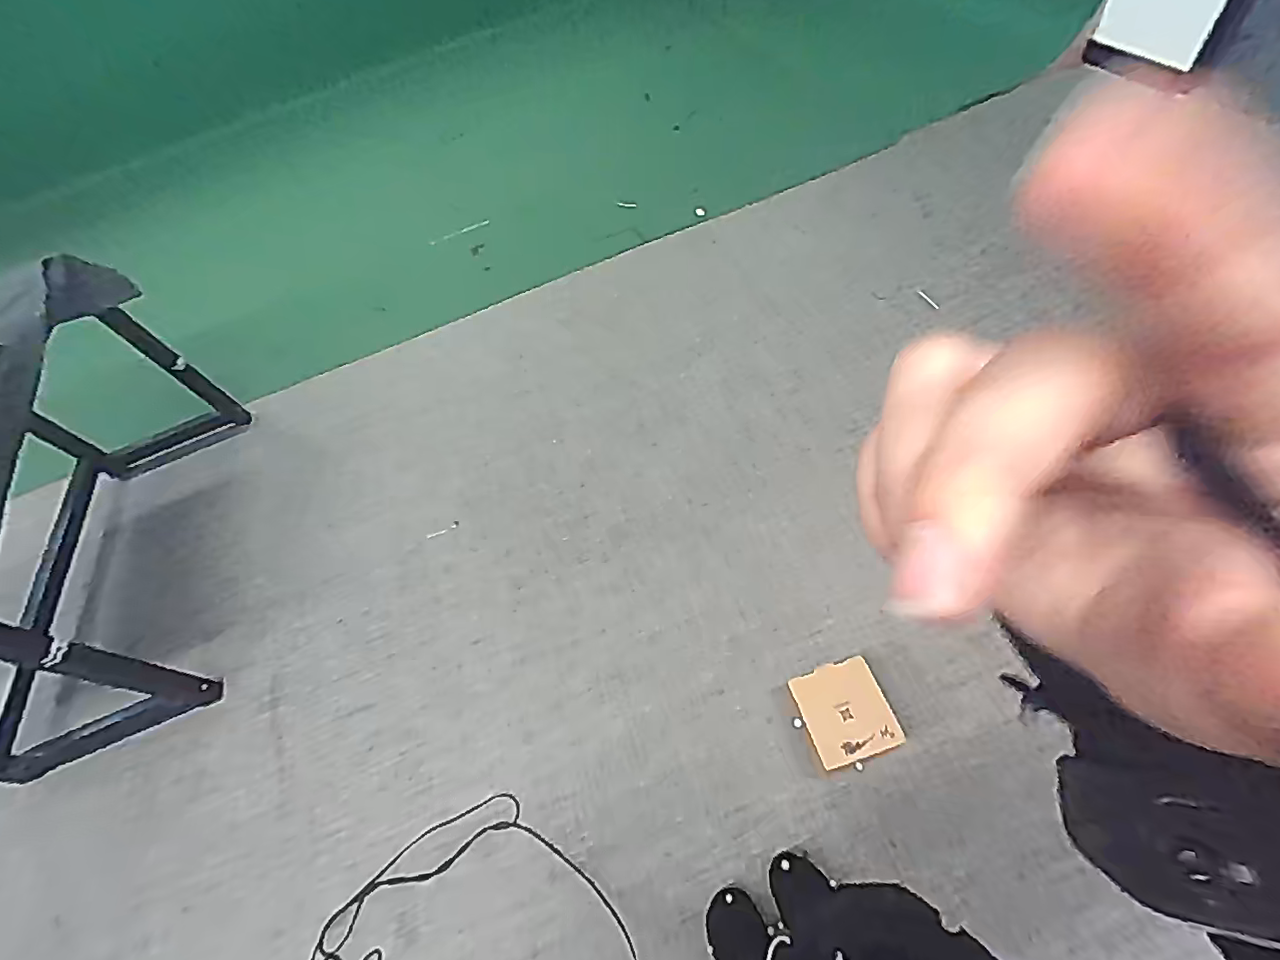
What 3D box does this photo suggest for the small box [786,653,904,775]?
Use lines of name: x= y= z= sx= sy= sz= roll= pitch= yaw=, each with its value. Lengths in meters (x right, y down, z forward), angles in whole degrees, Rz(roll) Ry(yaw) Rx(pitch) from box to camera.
small box: x=0.413 y=0.491 z=1.128 sx=0.168 sy=0.176 sz=0.179 roll=-20 pitch=55 yaw=0
